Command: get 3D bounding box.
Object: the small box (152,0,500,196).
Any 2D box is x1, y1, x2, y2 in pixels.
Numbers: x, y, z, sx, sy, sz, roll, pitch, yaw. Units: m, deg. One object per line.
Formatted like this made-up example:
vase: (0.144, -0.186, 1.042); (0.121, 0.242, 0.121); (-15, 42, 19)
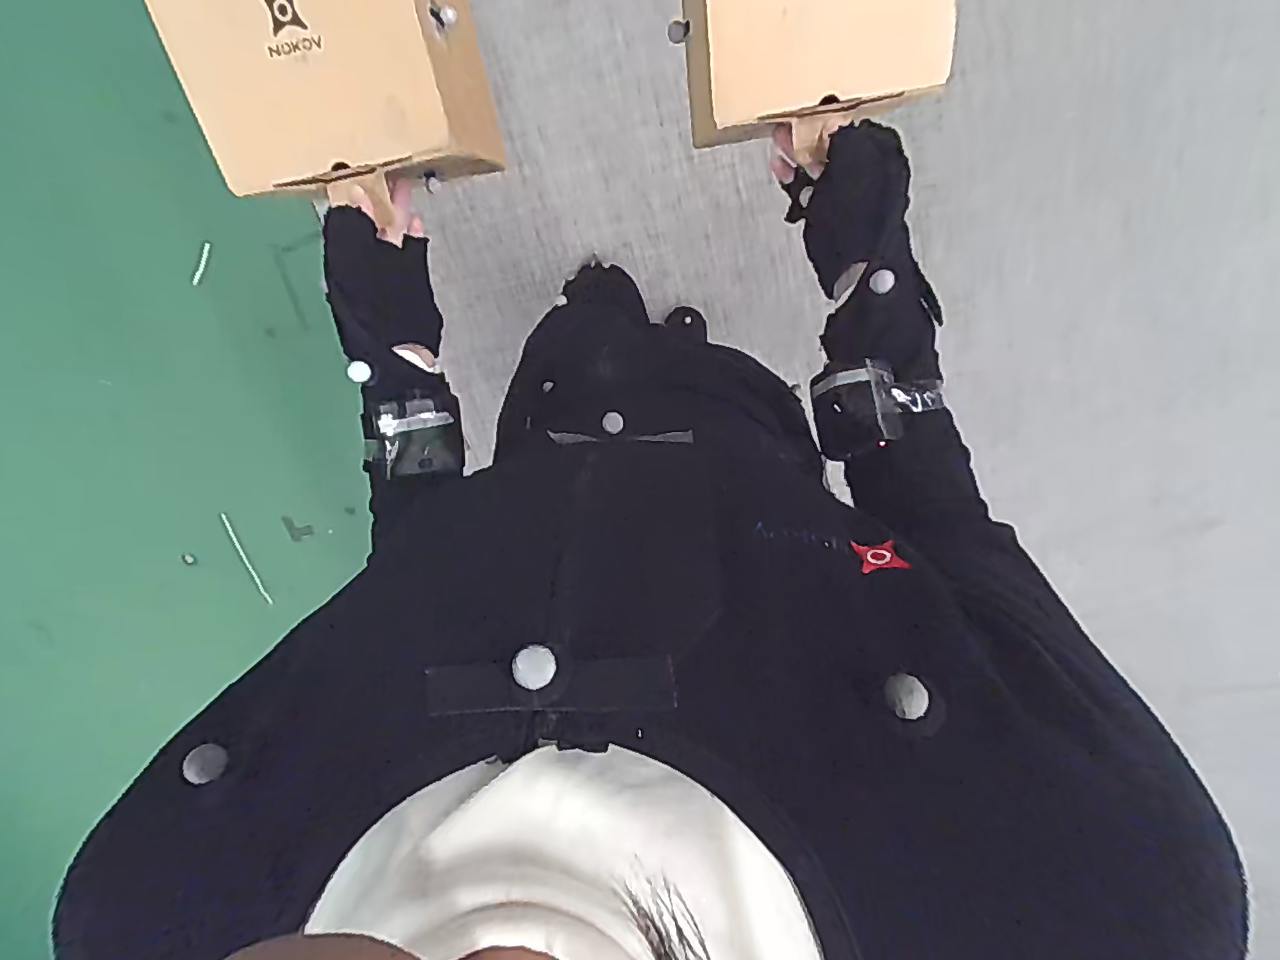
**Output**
small box: (-0.224, -0.331, 0.419); (0.168, 0.176, 0.179); (-10, 115, 5)
